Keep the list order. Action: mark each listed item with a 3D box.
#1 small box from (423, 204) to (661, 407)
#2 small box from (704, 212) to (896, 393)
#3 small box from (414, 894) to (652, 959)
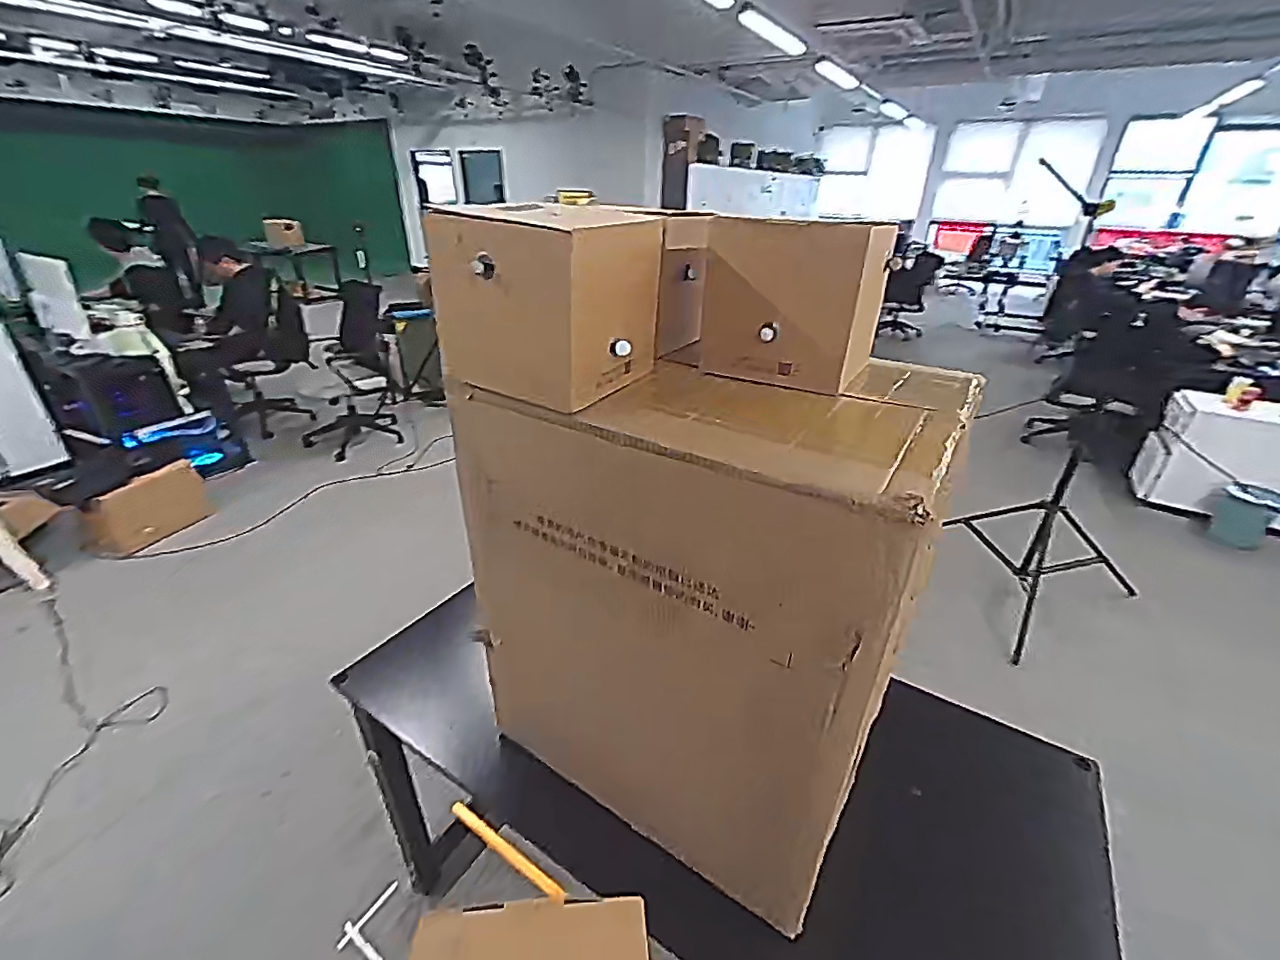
[{"bbox_3d":[-0.097,-0.190,0.571,0.179,0.176,0.168,19,34,24],"label":"small box"},{"bbox_3d":[0.181,-0.213,0.630,0.168,0.176,0.179,15,30,27],"label":"small box"},{"bbox_3d":[-0.077,0.423,0.362,0.168,0.176,0.179,3,27,-7],"label":"small box"}]
